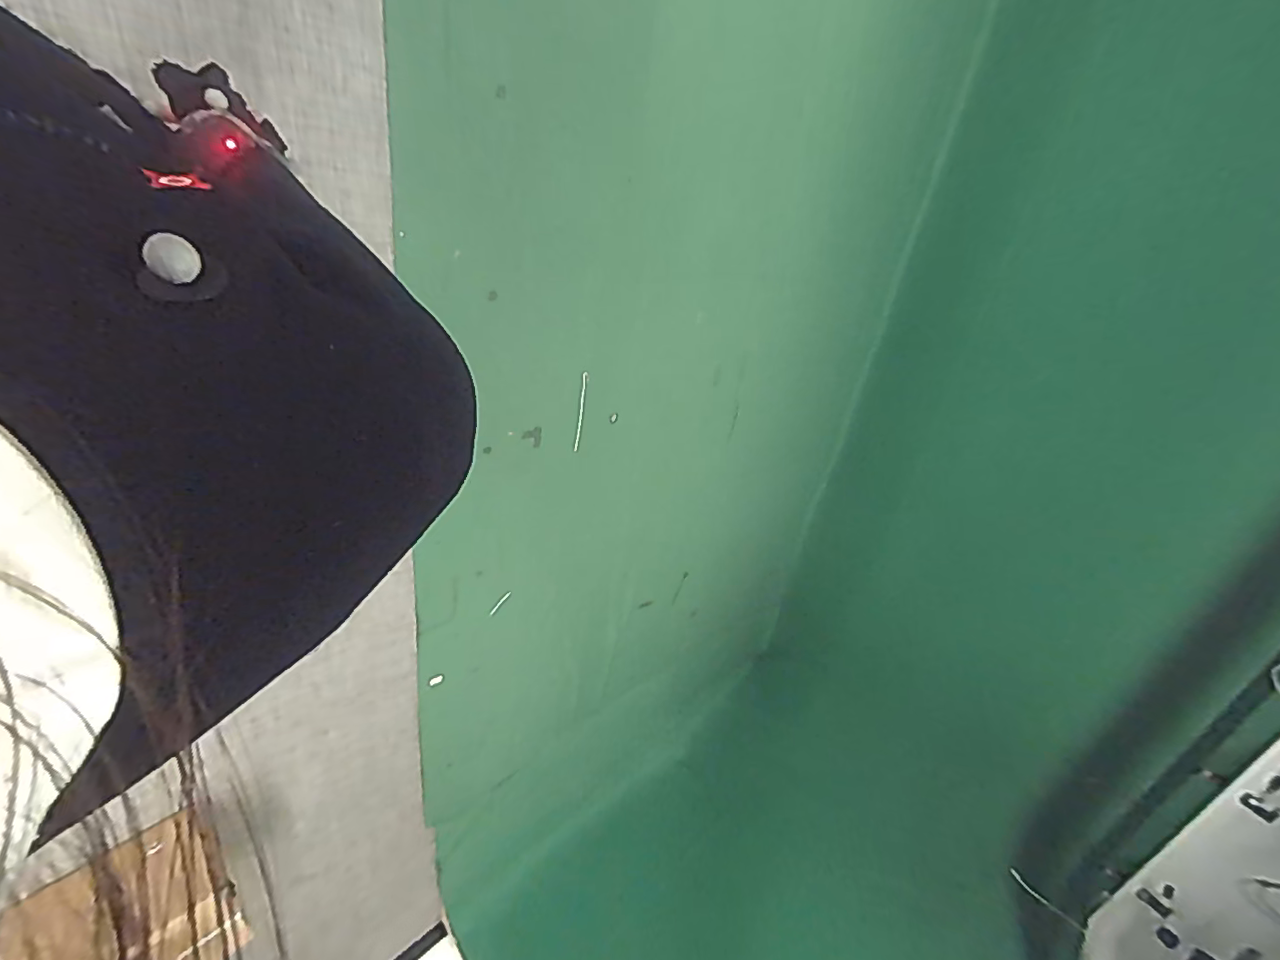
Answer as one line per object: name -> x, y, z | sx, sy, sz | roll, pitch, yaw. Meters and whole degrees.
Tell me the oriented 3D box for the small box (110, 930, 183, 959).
small box -> -1.231, 1.263, 1.316 | 0.179, 0.176, 0.168 | -21, 129, -39
